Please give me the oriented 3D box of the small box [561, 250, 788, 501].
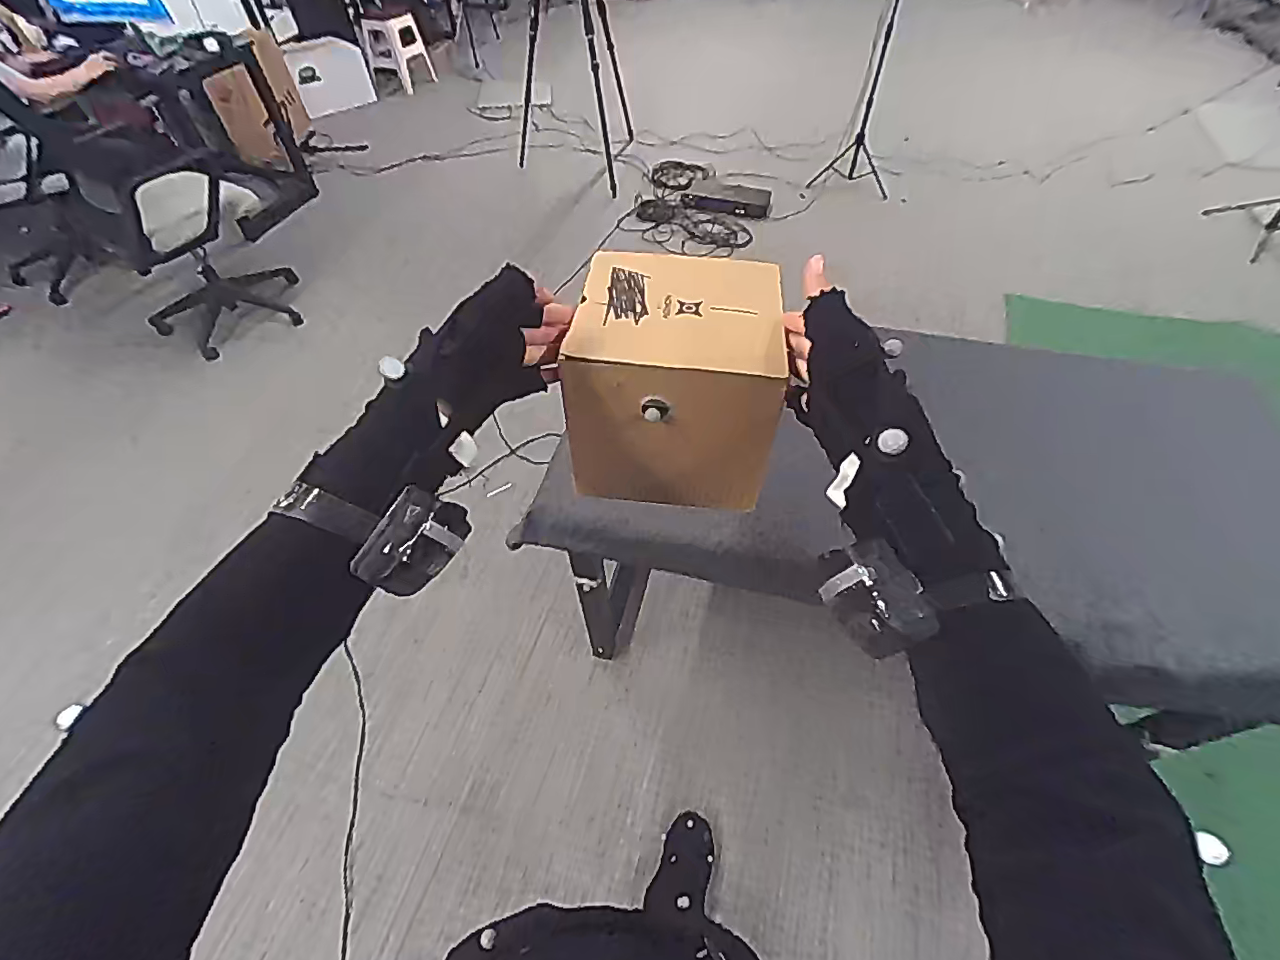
[{"bbox_3d":[0.034,-0.096,0.517,0.179,0.176,0.168,6,51,4],"label":"small box"}]
